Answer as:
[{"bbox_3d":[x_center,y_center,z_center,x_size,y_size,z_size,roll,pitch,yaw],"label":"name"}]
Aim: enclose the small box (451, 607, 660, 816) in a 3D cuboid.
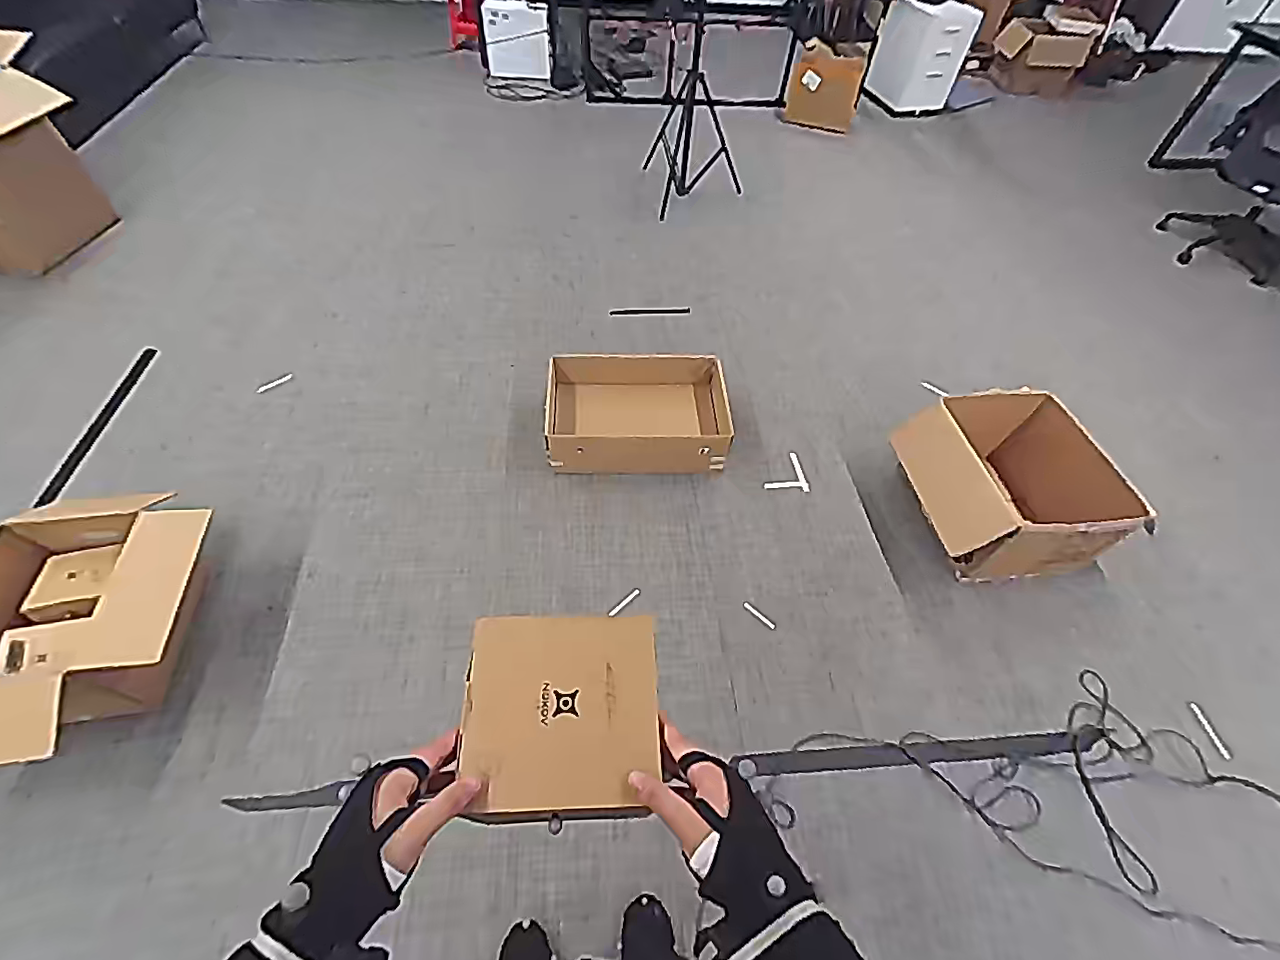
[{"bbox_3d":[-0.077,0.241,0.556,0.179,0.176,0.168,-1,56,-5],"label":"small box"}]
